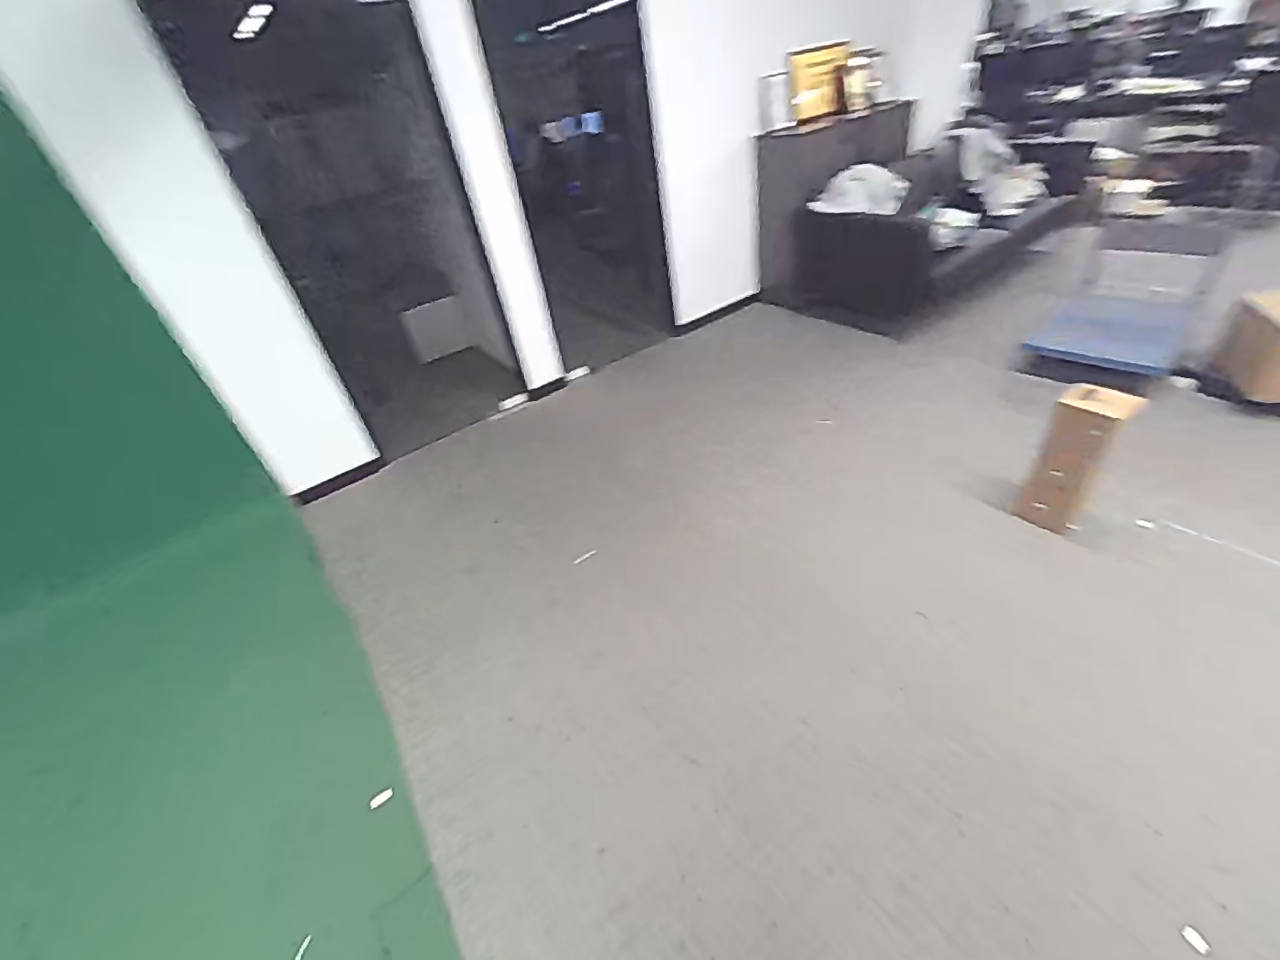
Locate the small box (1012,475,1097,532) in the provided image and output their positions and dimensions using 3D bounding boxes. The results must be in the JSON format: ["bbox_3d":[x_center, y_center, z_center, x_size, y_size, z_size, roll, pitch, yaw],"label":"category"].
[{"bbox_3d":[1.514,0.068,1.983,0.168,0.176,0.179,-28,39,-23],"label":"small box"}]

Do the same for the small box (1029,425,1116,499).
[{"bbox_3d":[1.495,-0.060,1.882,0.179,0.176,0.168,-28,40,-23],"label":"small box"}]
